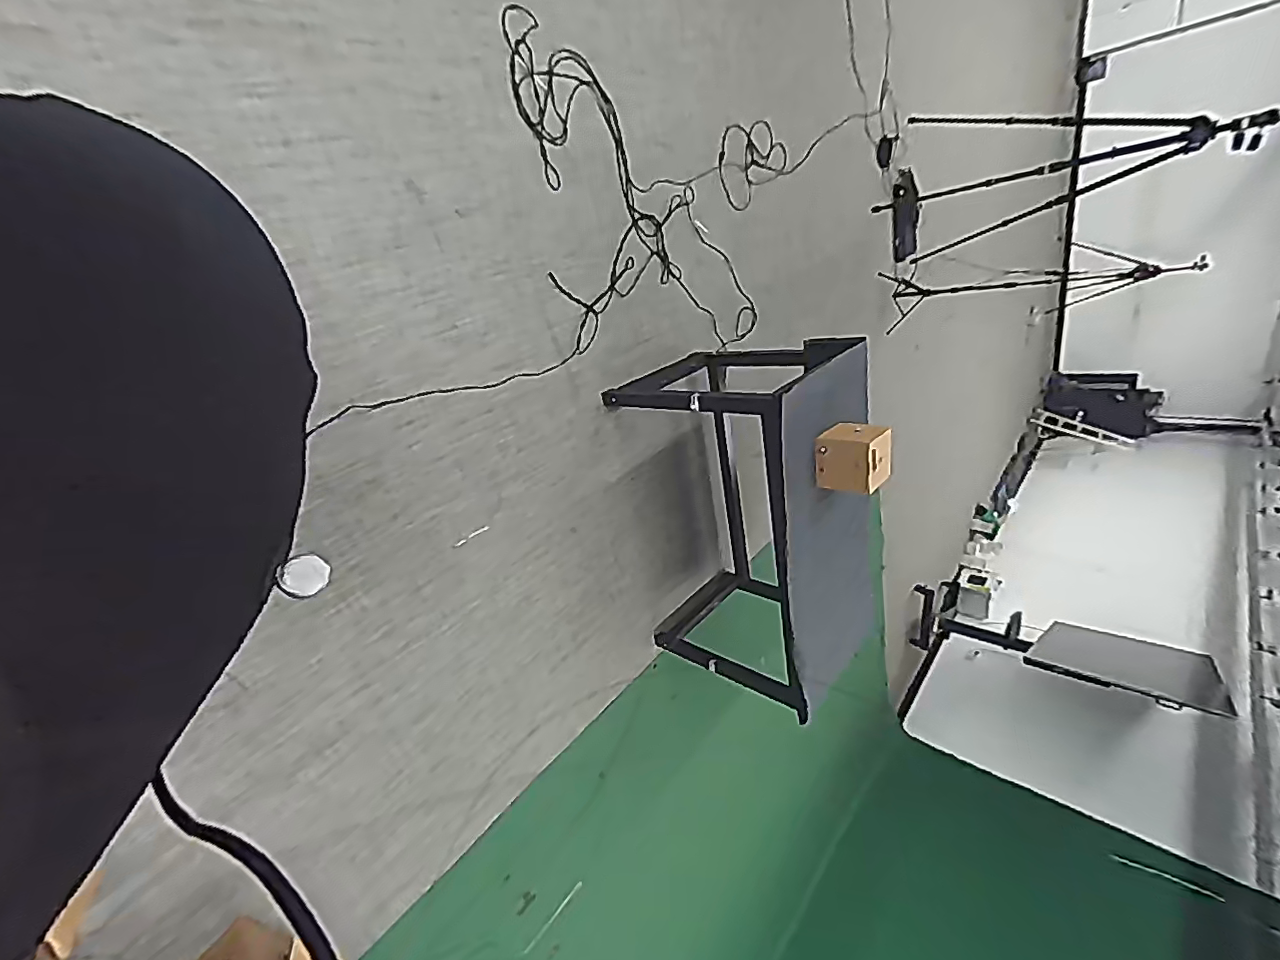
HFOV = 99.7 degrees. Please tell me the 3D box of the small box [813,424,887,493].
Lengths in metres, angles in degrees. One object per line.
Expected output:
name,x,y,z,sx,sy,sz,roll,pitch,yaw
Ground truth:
small box,0.655,-0.074,1.692,0.179,0.176,0.168,-27,117,-42
